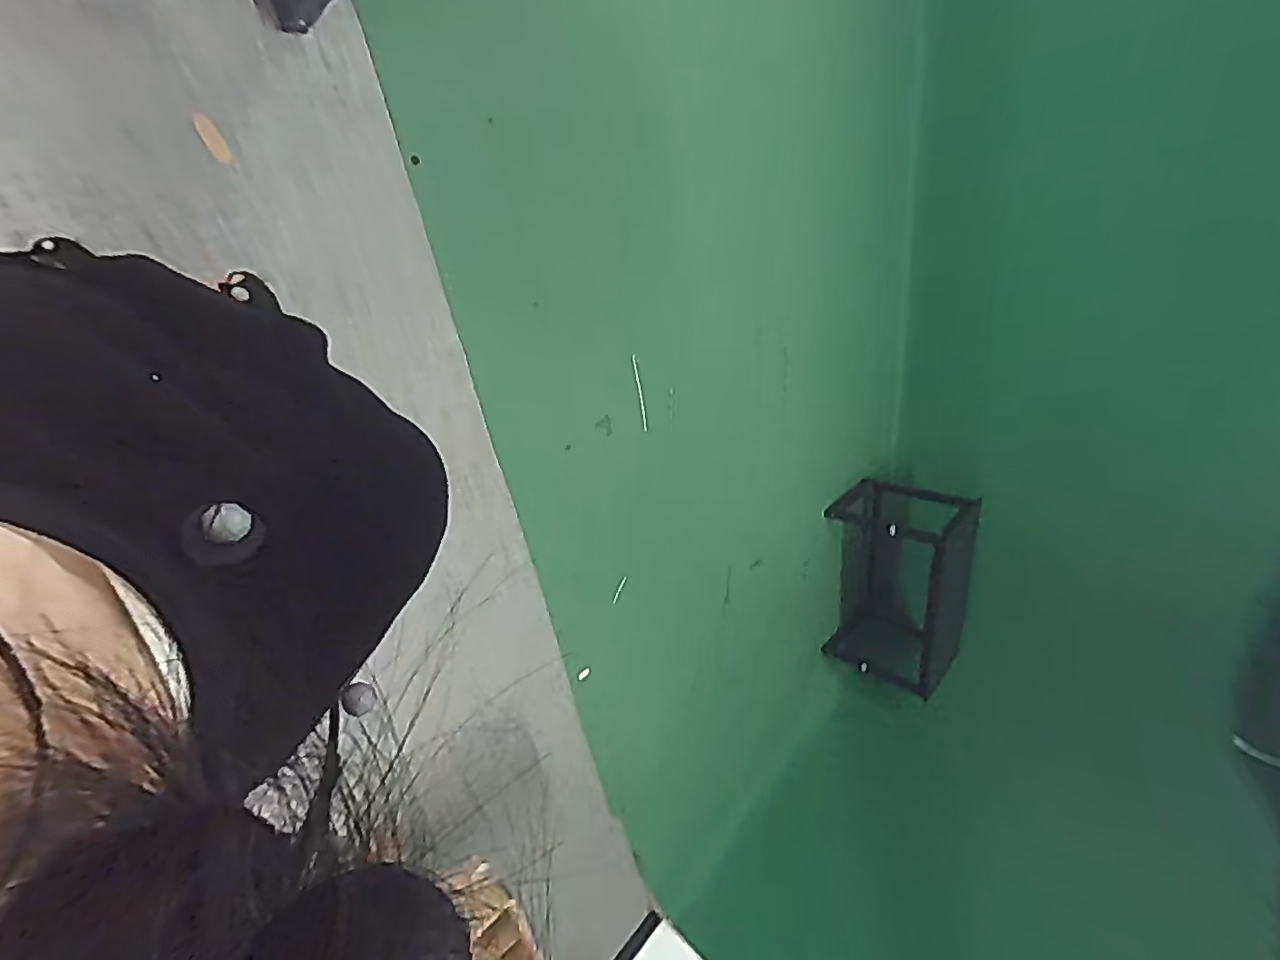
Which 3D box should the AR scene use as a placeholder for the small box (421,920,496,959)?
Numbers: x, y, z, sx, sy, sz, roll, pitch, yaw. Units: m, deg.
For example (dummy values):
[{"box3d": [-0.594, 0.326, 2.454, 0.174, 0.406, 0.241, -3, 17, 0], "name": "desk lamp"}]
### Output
[{"box3d": [-0.470, 1.337, 1.441, 0.168, 0.176, 0.179, -34, 124, -33], "name": "small box"}]
